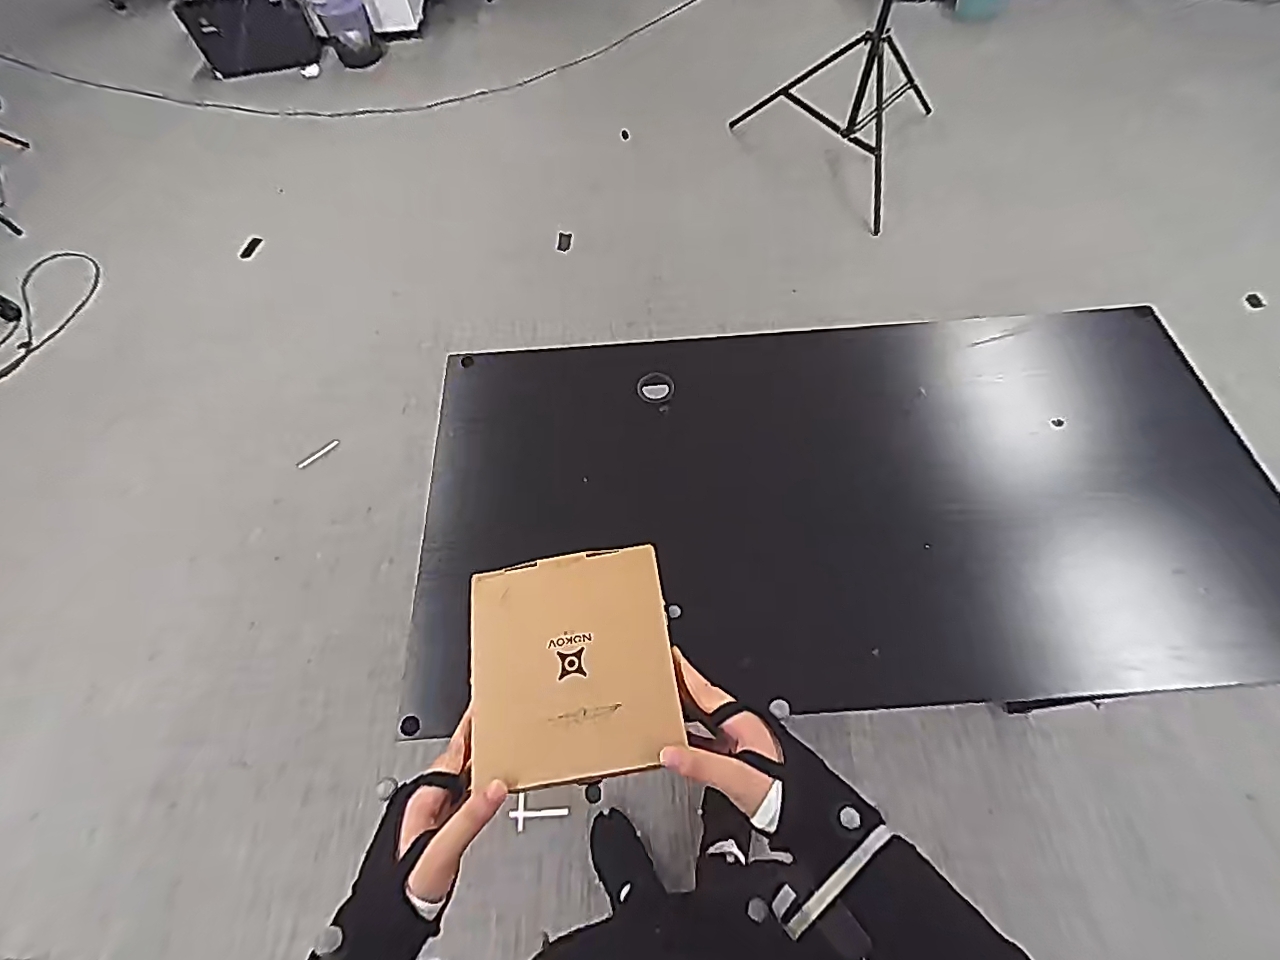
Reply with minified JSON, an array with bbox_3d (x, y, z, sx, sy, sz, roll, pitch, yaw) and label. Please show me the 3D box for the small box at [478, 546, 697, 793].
[{"bbox_3d":[-0.045,0.184,0.509,0.168,0.176,0.179,-10,61,0],"label":"small box"}]
